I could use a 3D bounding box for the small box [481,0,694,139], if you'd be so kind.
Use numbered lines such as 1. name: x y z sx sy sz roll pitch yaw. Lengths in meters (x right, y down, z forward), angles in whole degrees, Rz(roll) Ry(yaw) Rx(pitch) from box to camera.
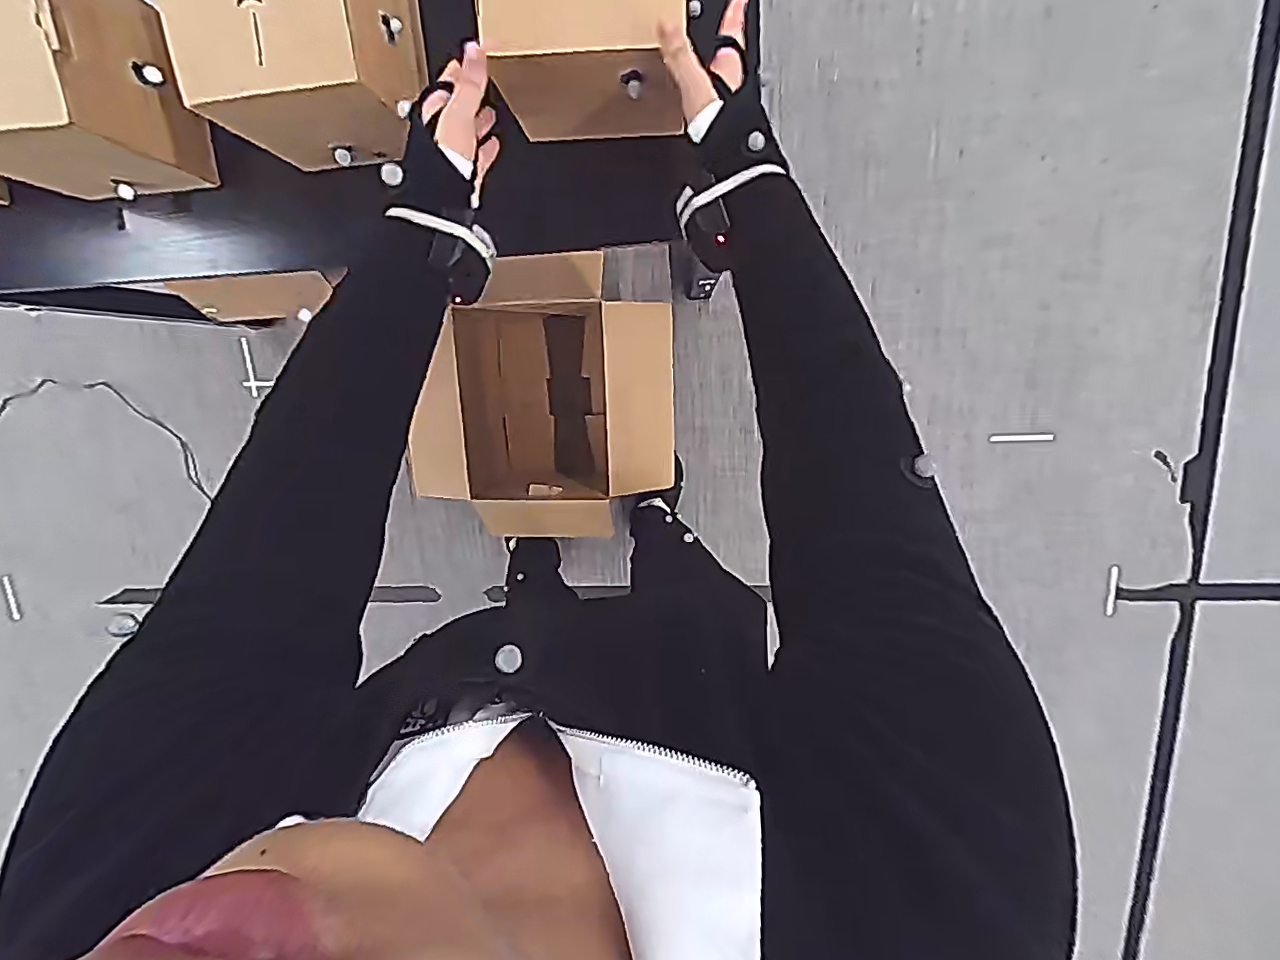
1. small box: -0.041 -0.445 0.508 0.179 0.176 0.168 -1 100 4

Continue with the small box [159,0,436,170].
1. small box: -0.320 -0.432 0.527 0.168 0.176 0.179 -4 102 4

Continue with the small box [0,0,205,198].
1. small box: -0.590 -0.403 0.547 0.179 0.176 0.168 -4 101 2
